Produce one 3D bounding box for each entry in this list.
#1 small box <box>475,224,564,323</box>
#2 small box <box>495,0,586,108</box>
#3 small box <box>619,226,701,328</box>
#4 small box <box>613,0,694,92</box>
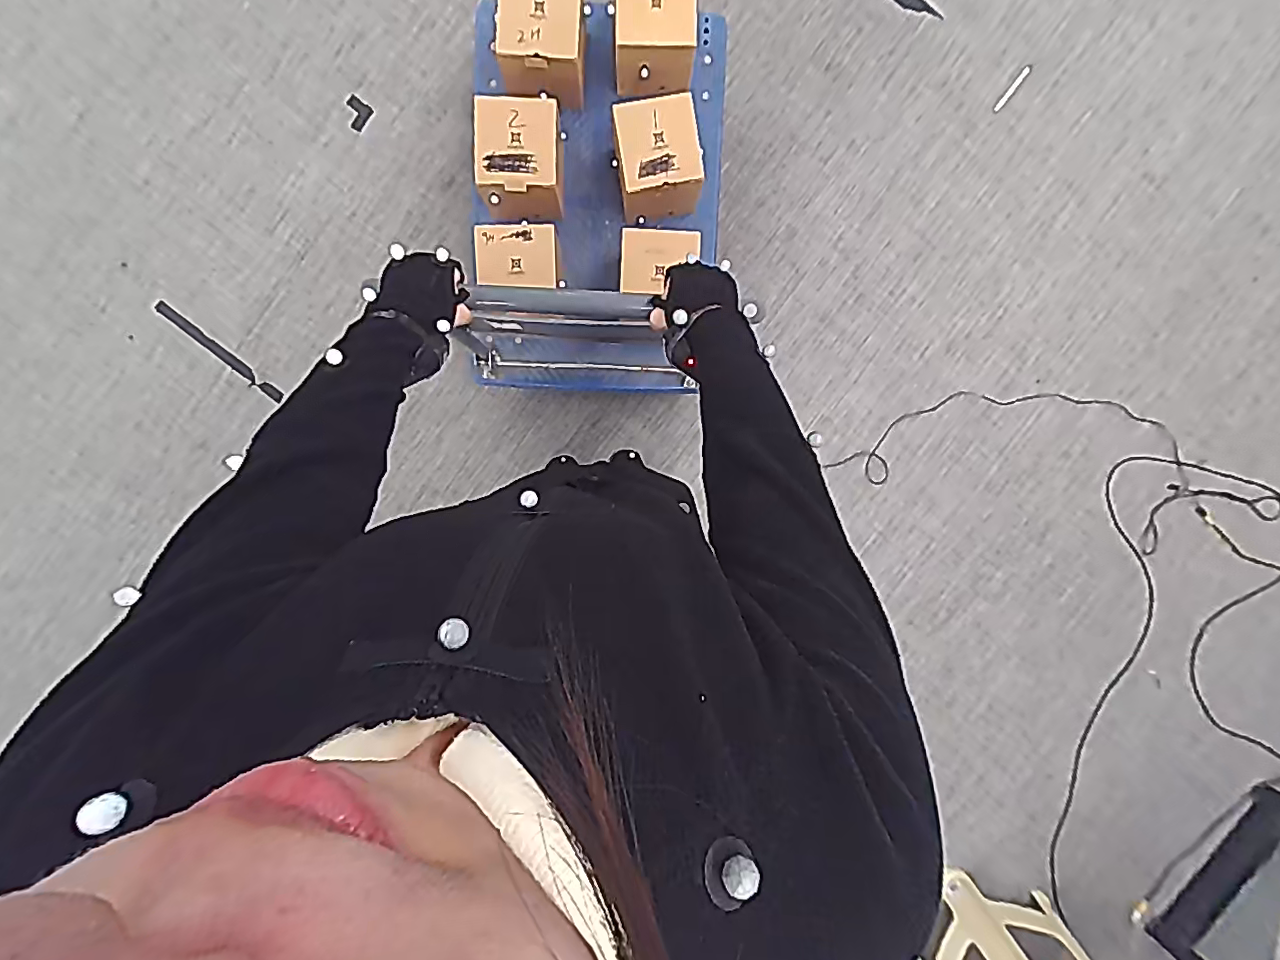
[{"bbox_3d":[-0.259,-0.447,1.196,0.168,0.176,0.179,-2,95,-3],"label":"small box"},{"bbox_3d":[-0.207,-0.942,1.157,0.168,0.176,0.179,4,95,-2],"label":"small box"},{"bbox_3d":[0.039,-0.444,1.208,0.168,0.176,0.179,2,94,-3],"label":"small box"},{"bbox_3d":[0.027,-0.972,1.164,0.168,0.176,0.179,-1,94,-2],"label":"small box"}]
